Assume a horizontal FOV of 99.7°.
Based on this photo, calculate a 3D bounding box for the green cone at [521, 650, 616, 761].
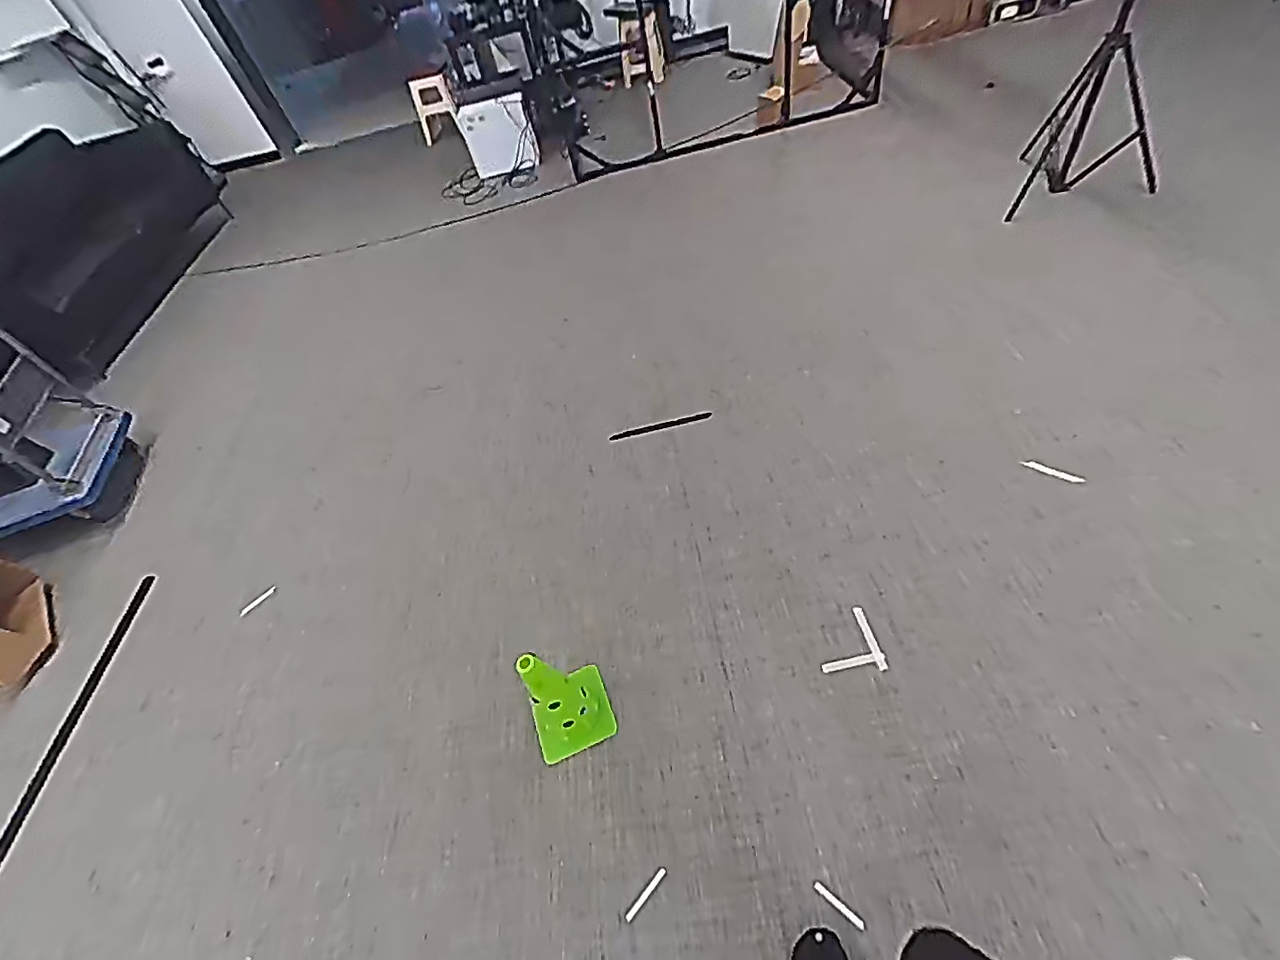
[{"bbox_3d":[-0.210,0.501,1.295,0.202,0.368,0.200,-23,50,-7],"label":"green cone"}]
